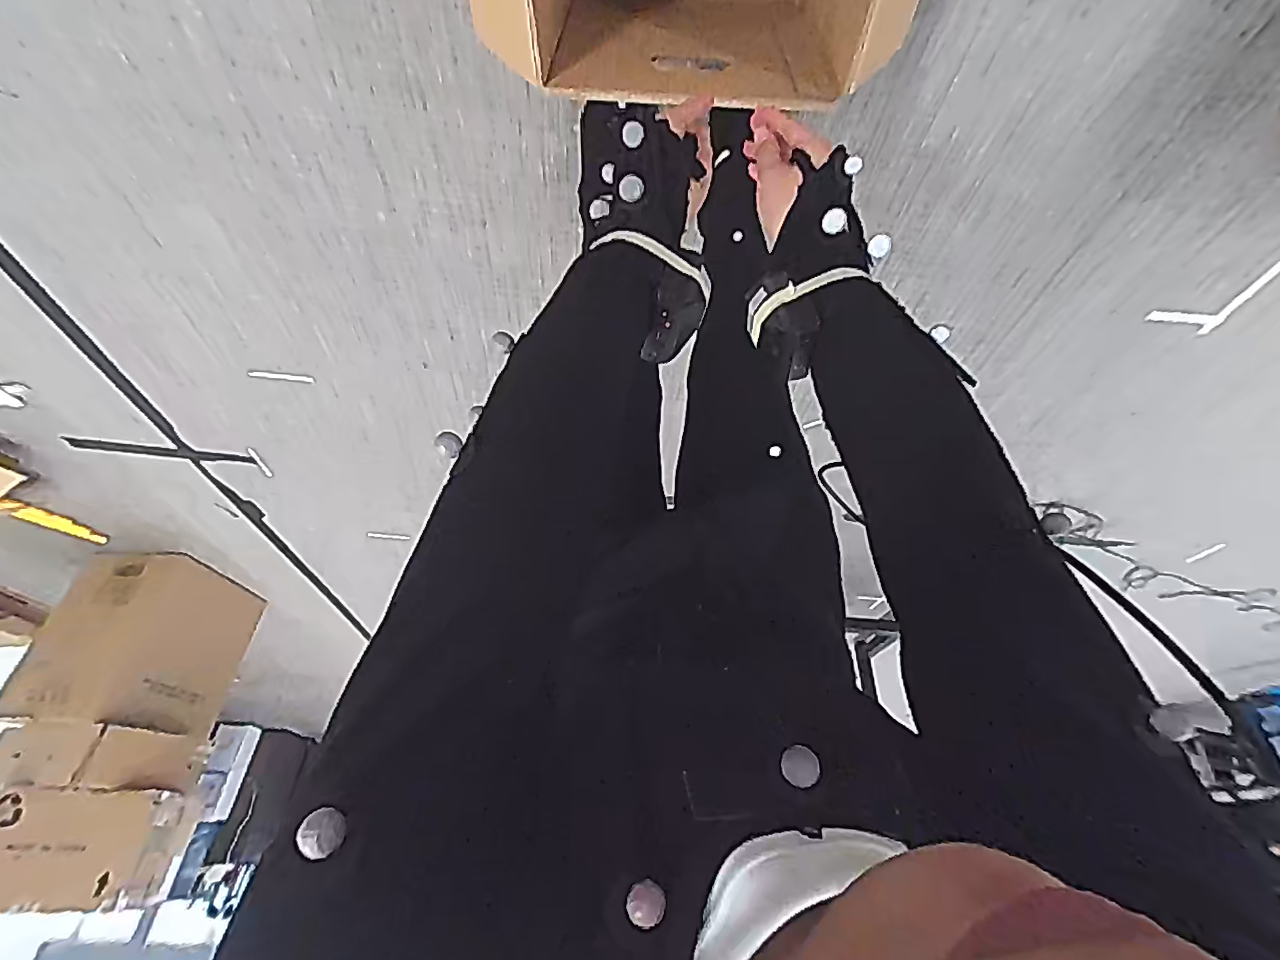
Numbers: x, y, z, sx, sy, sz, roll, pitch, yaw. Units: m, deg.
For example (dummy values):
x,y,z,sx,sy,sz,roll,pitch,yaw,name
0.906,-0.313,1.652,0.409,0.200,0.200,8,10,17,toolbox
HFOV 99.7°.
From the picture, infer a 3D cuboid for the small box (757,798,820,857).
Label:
x,y,z,sx,sy,sz,roll,pitch,yaw,name
0.538,1.277,1.985,0.168,0.176,0.179,6,145,-7,small box
